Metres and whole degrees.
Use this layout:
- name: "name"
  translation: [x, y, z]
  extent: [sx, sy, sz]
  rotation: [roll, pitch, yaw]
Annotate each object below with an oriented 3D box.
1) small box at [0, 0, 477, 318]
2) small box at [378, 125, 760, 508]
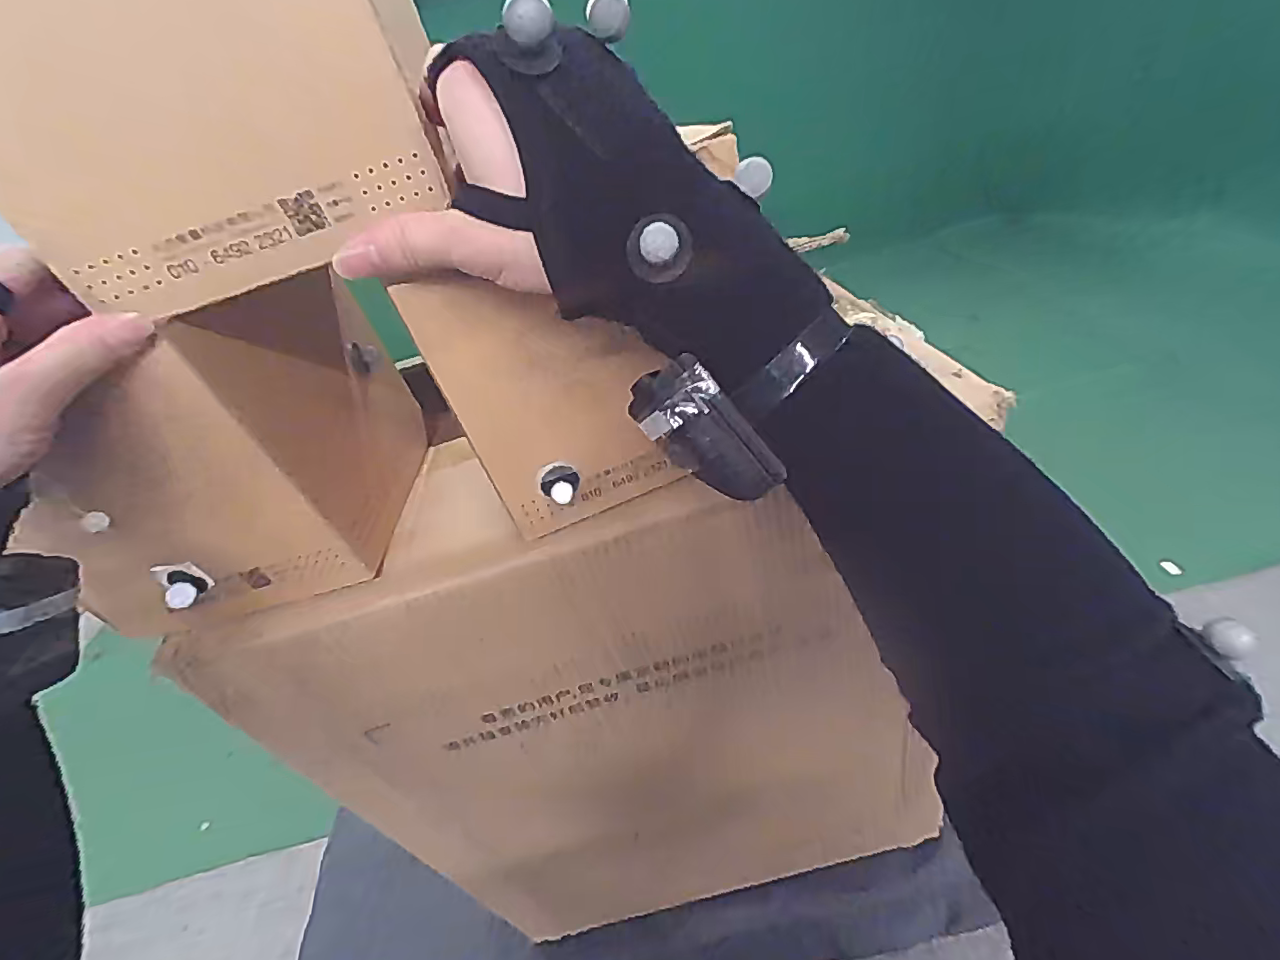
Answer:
- name: "small box"
  translation: [-0.190, -0.198, 0.258]
  extent: [0.168, 0.176, 0.179]
  rotation: [-19, 36, -1]
- name: "small box"
  translation: [-0.040, -0.103, 0.345]
  extent: [0.168, 0.176, 0.179]
  rotation: [-23, 36, -7]
